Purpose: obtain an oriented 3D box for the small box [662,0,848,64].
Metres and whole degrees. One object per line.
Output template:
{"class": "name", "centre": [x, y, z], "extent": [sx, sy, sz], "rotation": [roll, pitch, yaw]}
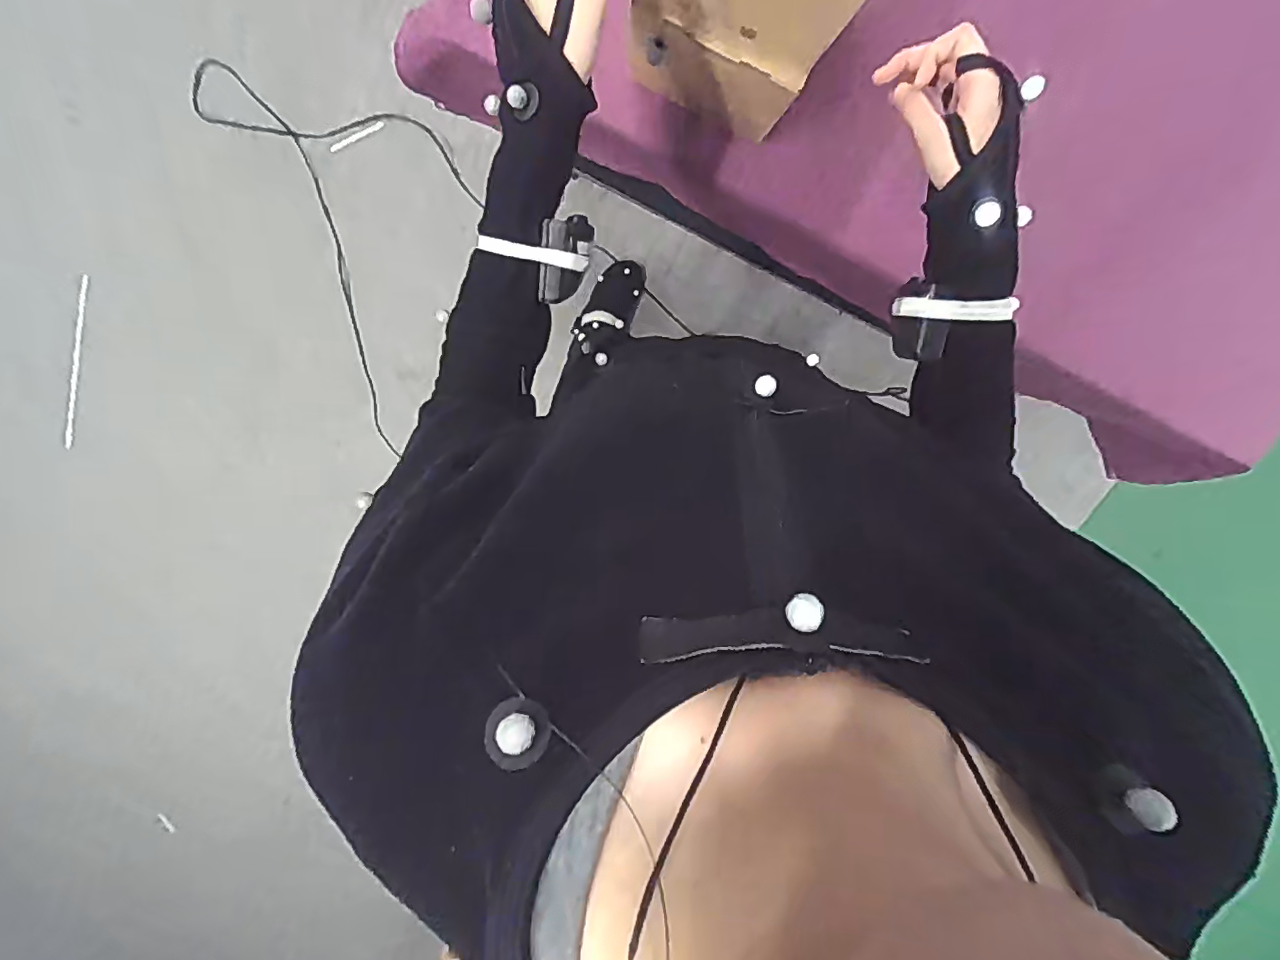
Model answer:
{"class": "small box", "centre": [0.095, -0.428, 0.359], "extent": [0.168, 0.176, 0.179], "rotation": [19, 107, -7]}
